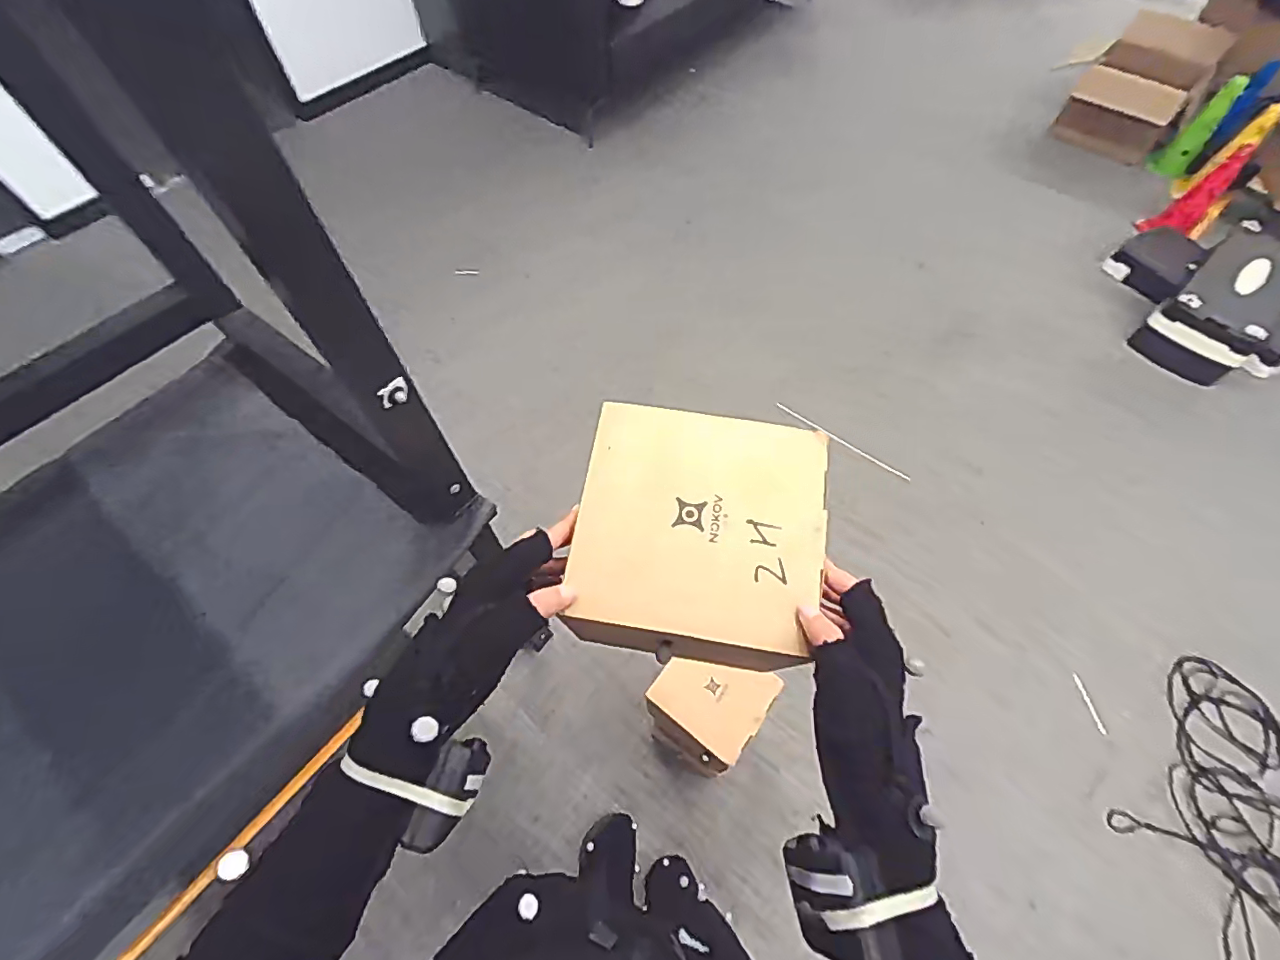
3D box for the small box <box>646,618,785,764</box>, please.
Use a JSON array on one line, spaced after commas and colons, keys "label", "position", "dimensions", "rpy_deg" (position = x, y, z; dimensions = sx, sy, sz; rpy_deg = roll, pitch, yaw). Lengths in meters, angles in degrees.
[{"label": "small box", "position": [0.127, 0.382, 0.963], "dimensions": [0.179, 0.176, 0.168], "rpy_deg": [34, 67, 19]}]
